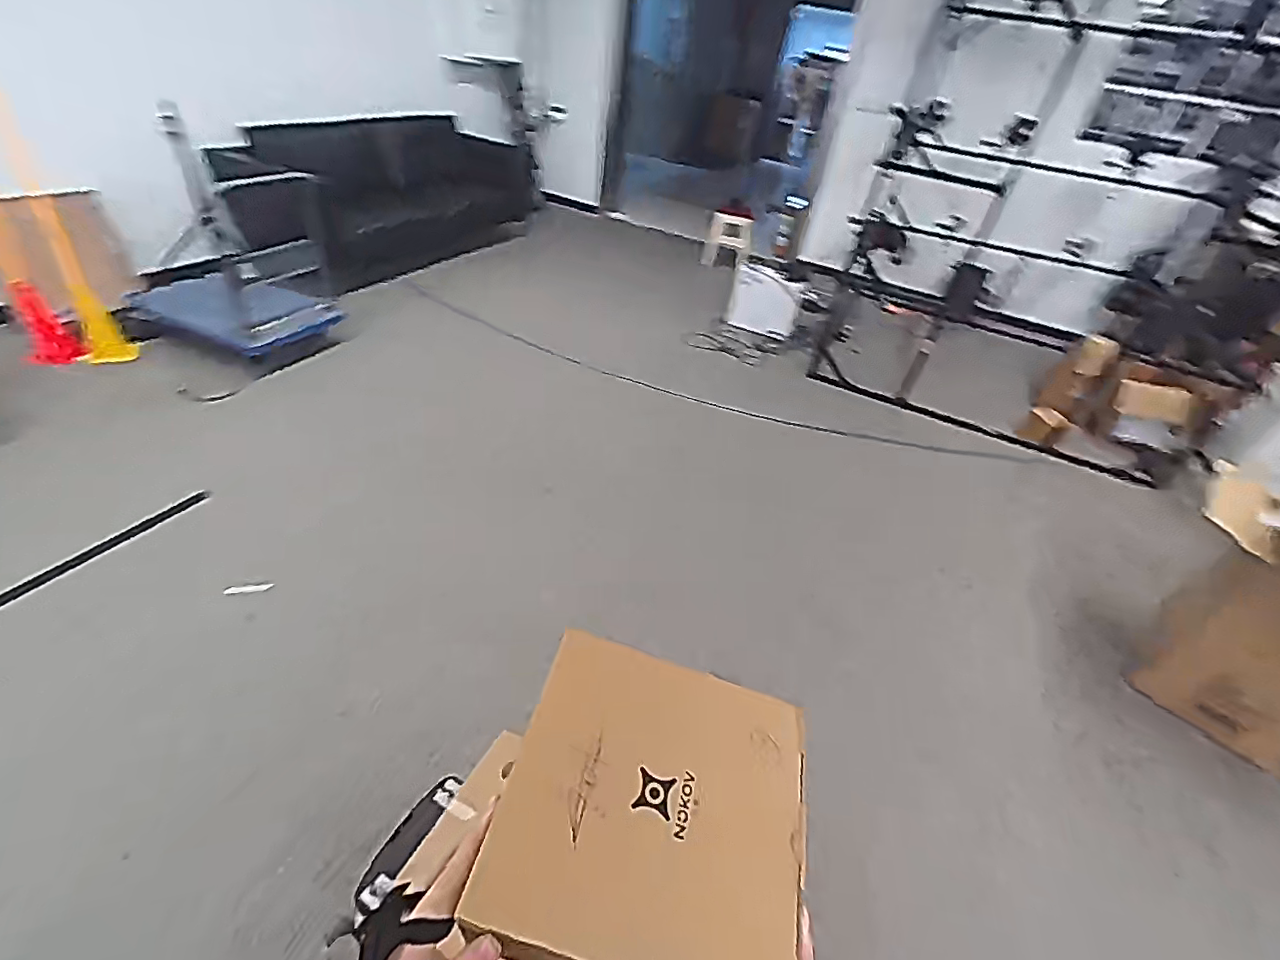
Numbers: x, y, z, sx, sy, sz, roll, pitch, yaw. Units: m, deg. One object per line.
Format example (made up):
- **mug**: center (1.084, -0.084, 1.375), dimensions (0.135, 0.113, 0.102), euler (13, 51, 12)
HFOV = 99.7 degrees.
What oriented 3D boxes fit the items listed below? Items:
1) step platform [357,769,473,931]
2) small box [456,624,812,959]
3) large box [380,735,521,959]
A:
- **step platform**: center (-0.247, 0.919, 1.099), dimensions (0.684, 0.204, 0.286), euler (26, 41, 21)
- **small box**: center (-0.002, 0.232, 0.365), dimensions (0.179, 0.176, 0.168), euler (18, 44, 2)
- **large box**: center (-0.161, 0.745, 0.949), dimensions (0.408, 0.320, 0.320), euler (22, 39, 17)
